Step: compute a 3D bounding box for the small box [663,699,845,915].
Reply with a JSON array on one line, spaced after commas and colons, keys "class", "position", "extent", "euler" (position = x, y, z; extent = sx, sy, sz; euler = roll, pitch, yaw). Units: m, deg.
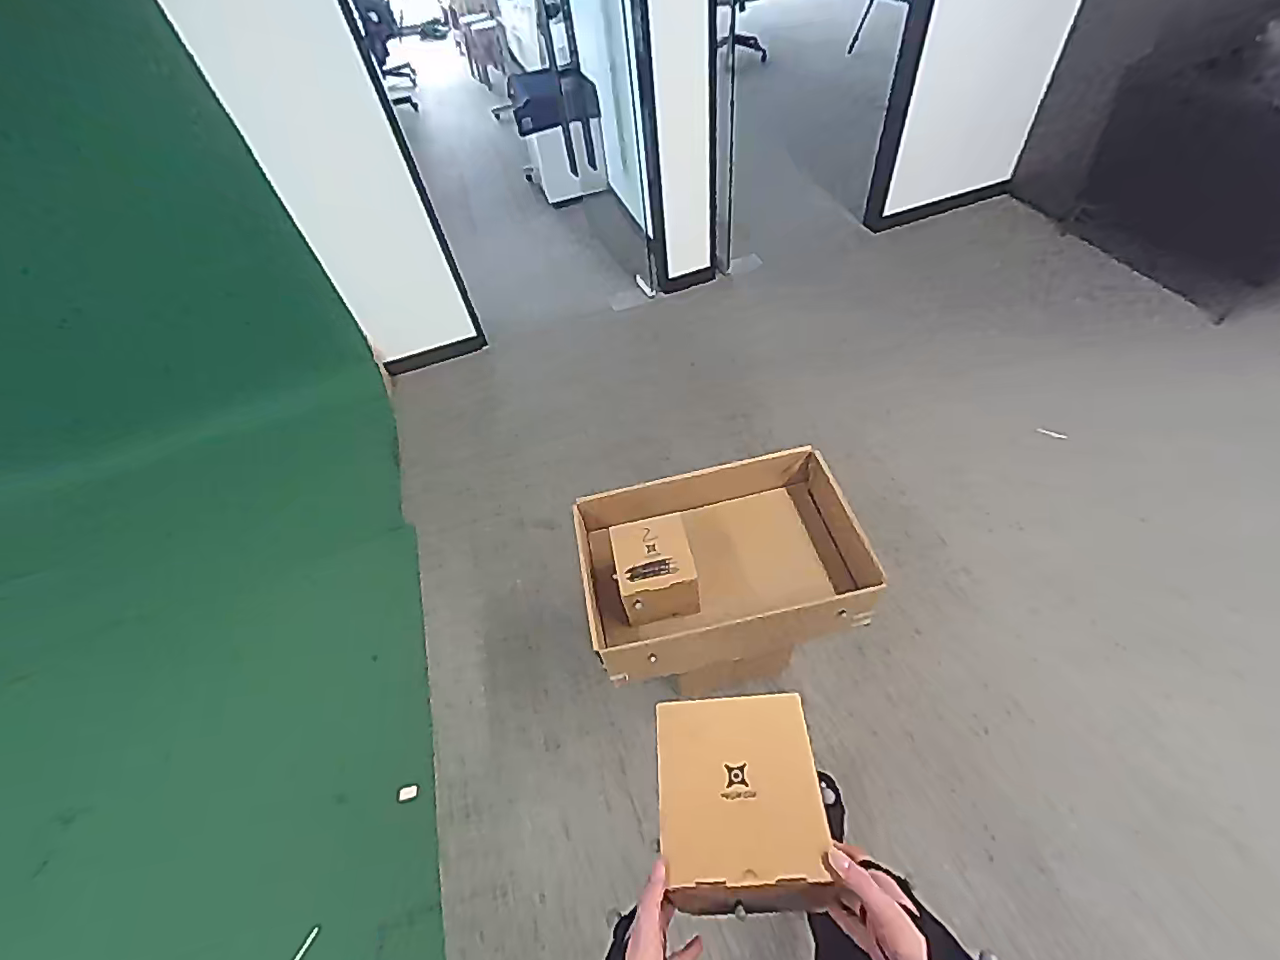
[{"class": "small box", "position": [0.116, 0.372, 0.615], "extent": [0.168, 0.176, 0.179], "euler": [-6, 46, 4]}]
